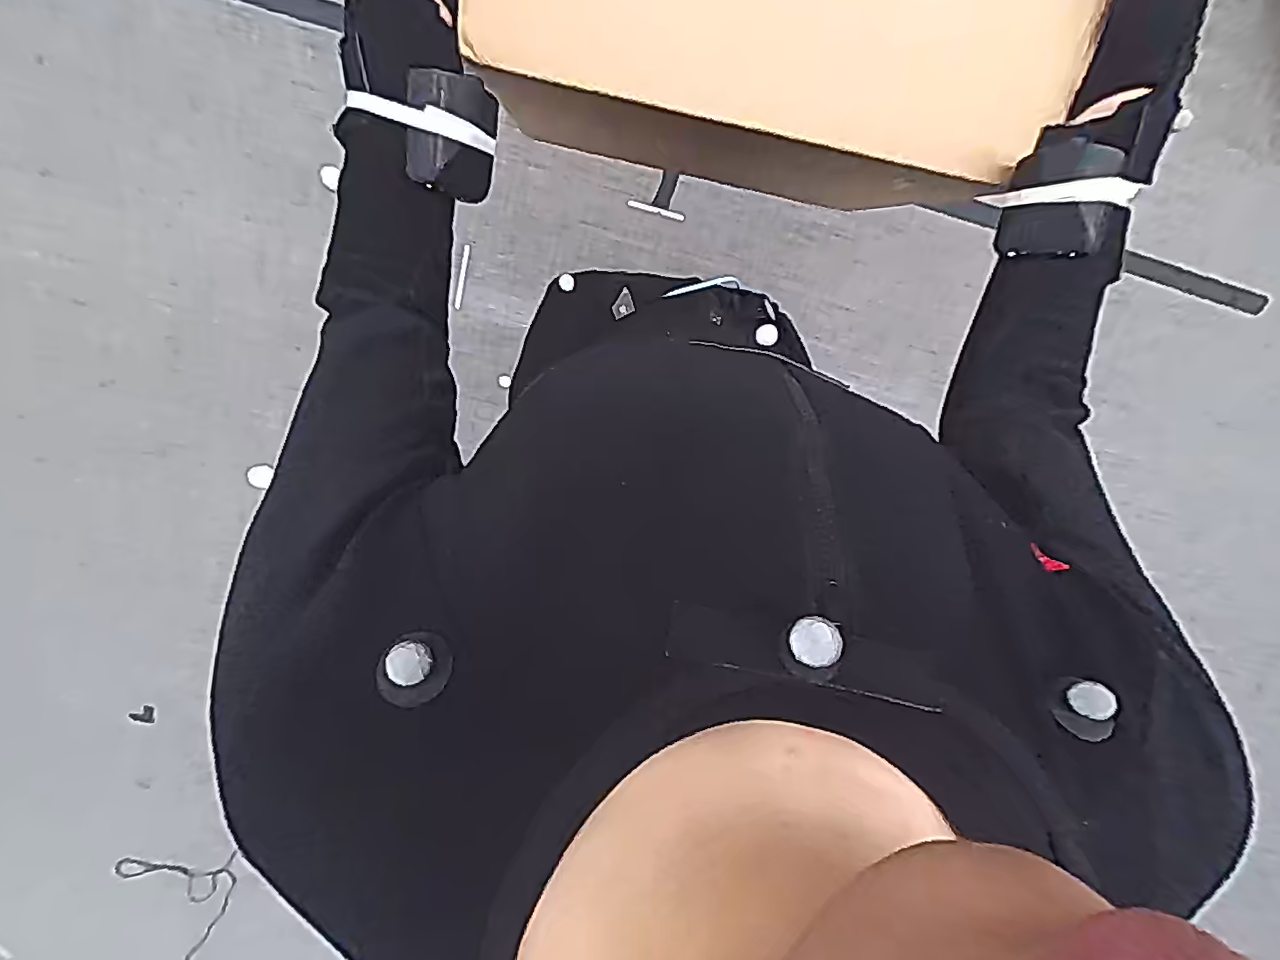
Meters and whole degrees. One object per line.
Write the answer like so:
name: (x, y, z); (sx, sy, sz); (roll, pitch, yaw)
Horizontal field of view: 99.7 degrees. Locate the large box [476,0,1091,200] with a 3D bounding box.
large box: (0.099, -0.446, 0.449); (0.408, 0.320, 0.320); (8, 114, -9)
